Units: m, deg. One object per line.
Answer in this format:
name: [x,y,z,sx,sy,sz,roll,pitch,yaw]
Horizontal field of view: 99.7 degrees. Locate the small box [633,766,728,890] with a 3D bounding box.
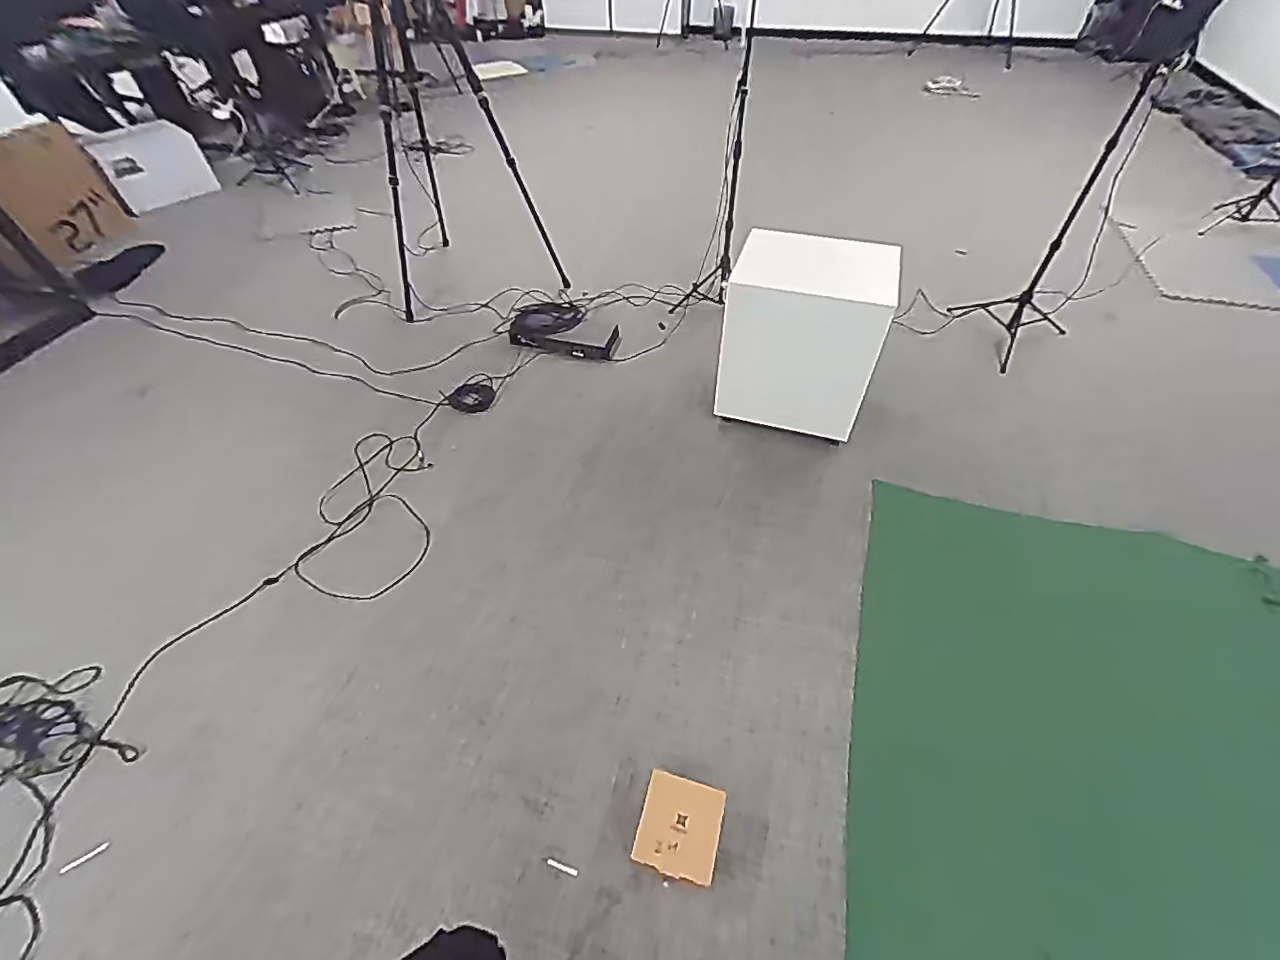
small box: [0.088,0.768,1.191,0.168,0.176,0.179,13,51,13]
